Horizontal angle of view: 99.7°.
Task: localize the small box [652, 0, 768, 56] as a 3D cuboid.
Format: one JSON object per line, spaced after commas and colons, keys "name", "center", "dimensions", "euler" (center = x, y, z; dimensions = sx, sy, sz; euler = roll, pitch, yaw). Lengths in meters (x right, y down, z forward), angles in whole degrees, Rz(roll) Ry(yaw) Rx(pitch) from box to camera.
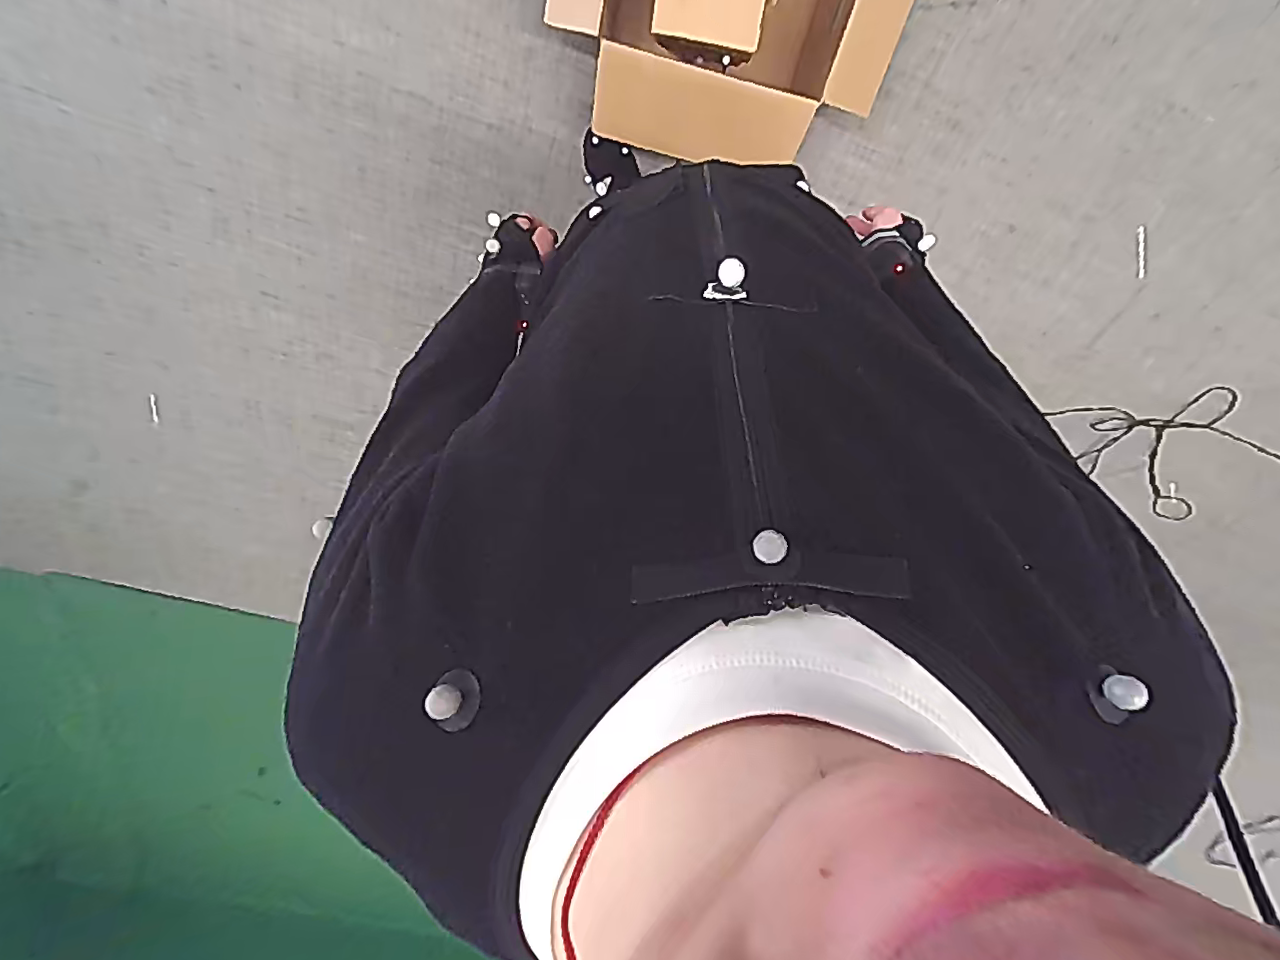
{"name": "small box", "center": [0.126, -0.824, 0.892], "dimensions": [0.179, 0.176, 0.168], "euler": [12, 122, 0]}
